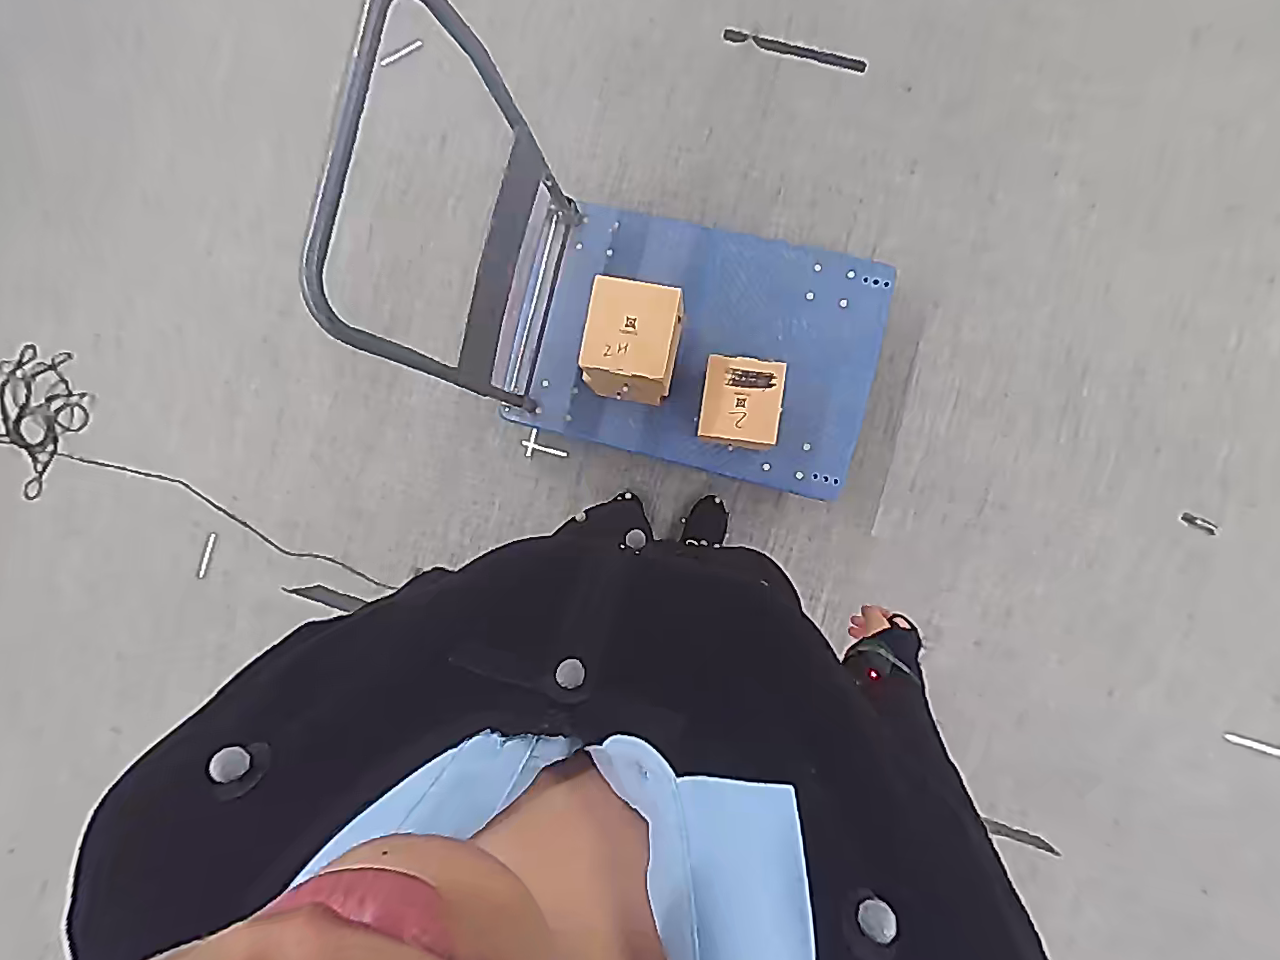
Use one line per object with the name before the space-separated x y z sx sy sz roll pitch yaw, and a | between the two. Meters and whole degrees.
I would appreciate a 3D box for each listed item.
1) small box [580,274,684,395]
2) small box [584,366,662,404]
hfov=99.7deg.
small box | -0.010 -0.281 1.074 0.168 0.176 0.179 12 91 6
small box | -0.020 -0.284 1.240 0.168 0.176 0.179 11 91 5
